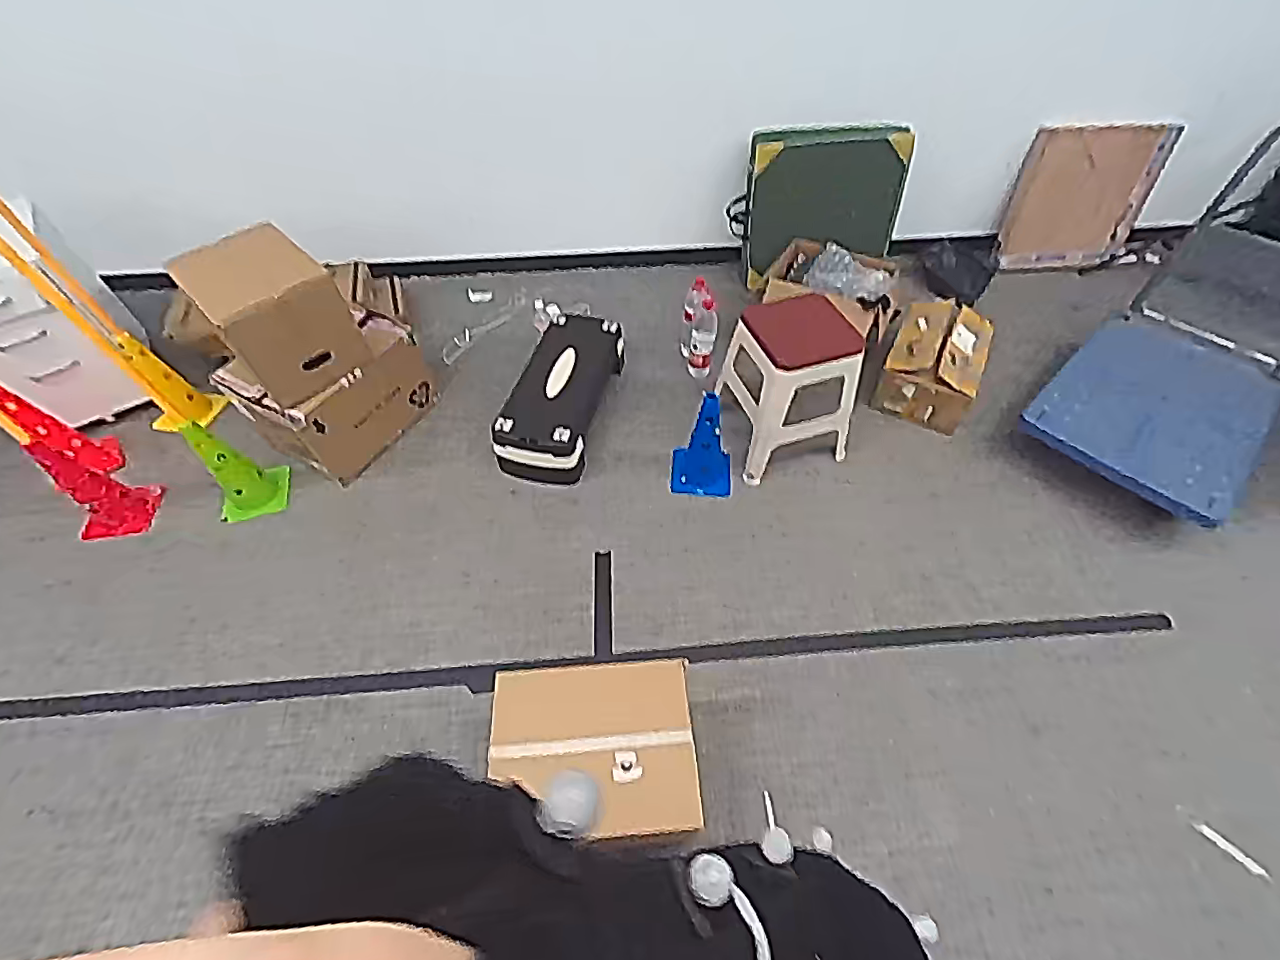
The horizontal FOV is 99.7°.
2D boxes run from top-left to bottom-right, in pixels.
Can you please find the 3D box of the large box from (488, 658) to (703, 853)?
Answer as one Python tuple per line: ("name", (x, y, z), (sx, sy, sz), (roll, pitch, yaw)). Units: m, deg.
("large box", (-0.095, 0.611, 1.194), (0.408, 0.320, 0.320), (-3, 53, -3))
